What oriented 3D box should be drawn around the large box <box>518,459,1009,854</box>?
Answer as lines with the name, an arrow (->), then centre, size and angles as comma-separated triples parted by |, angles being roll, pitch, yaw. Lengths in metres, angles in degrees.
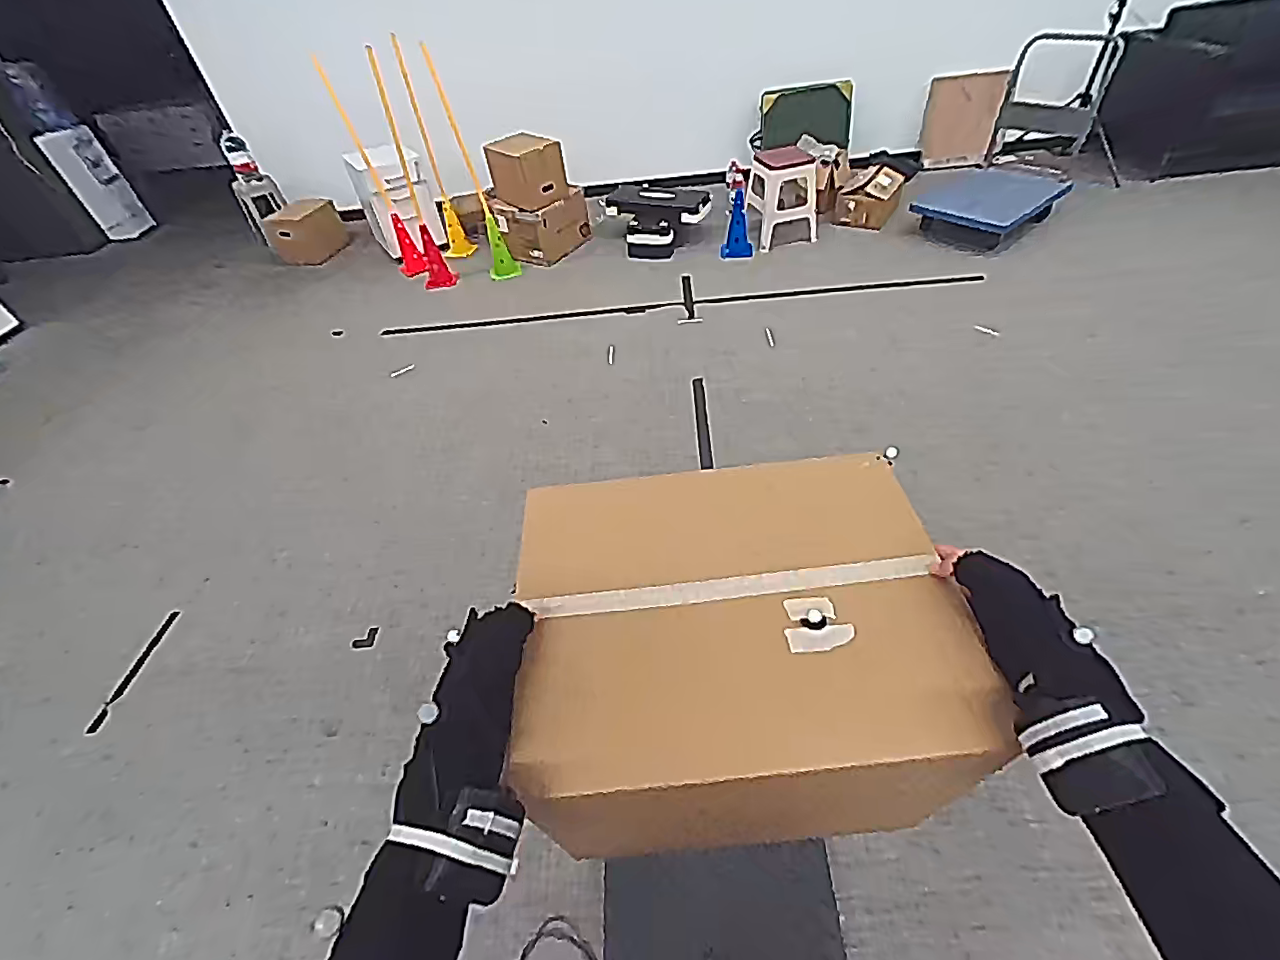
large box -> 0.096, 0.211, 0.635 | 0.408, 0.320, 0.320 | -6, 48, 0
